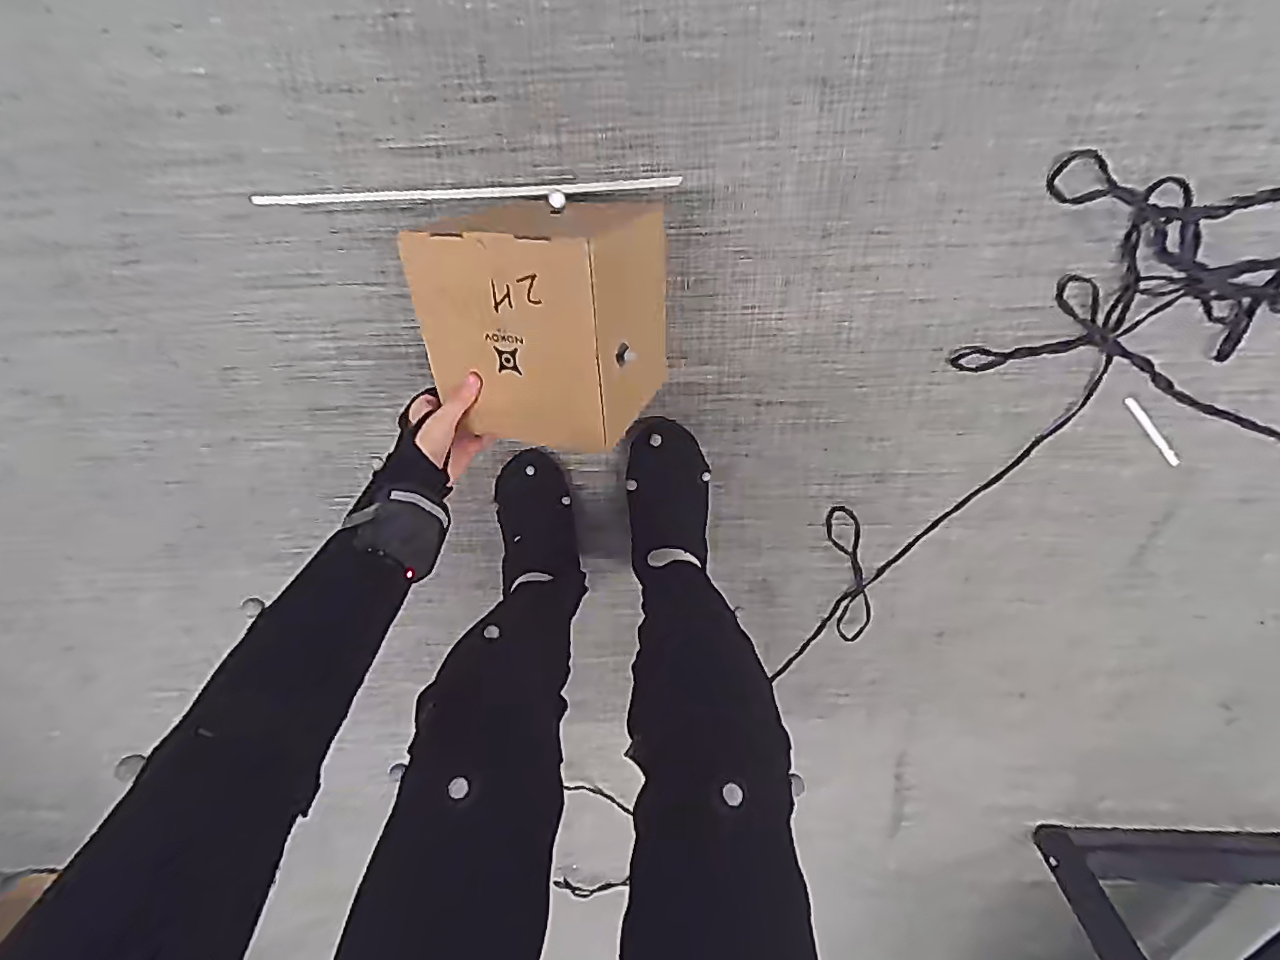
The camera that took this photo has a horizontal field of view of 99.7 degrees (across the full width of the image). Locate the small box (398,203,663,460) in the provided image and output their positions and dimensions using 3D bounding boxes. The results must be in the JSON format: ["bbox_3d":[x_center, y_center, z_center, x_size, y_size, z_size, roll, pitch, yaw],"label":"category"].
[{"bbox_3d":[-0.080,-0.144,0.498,0.168,0.176,0.179,10,125,16],"label":"small box"}]
